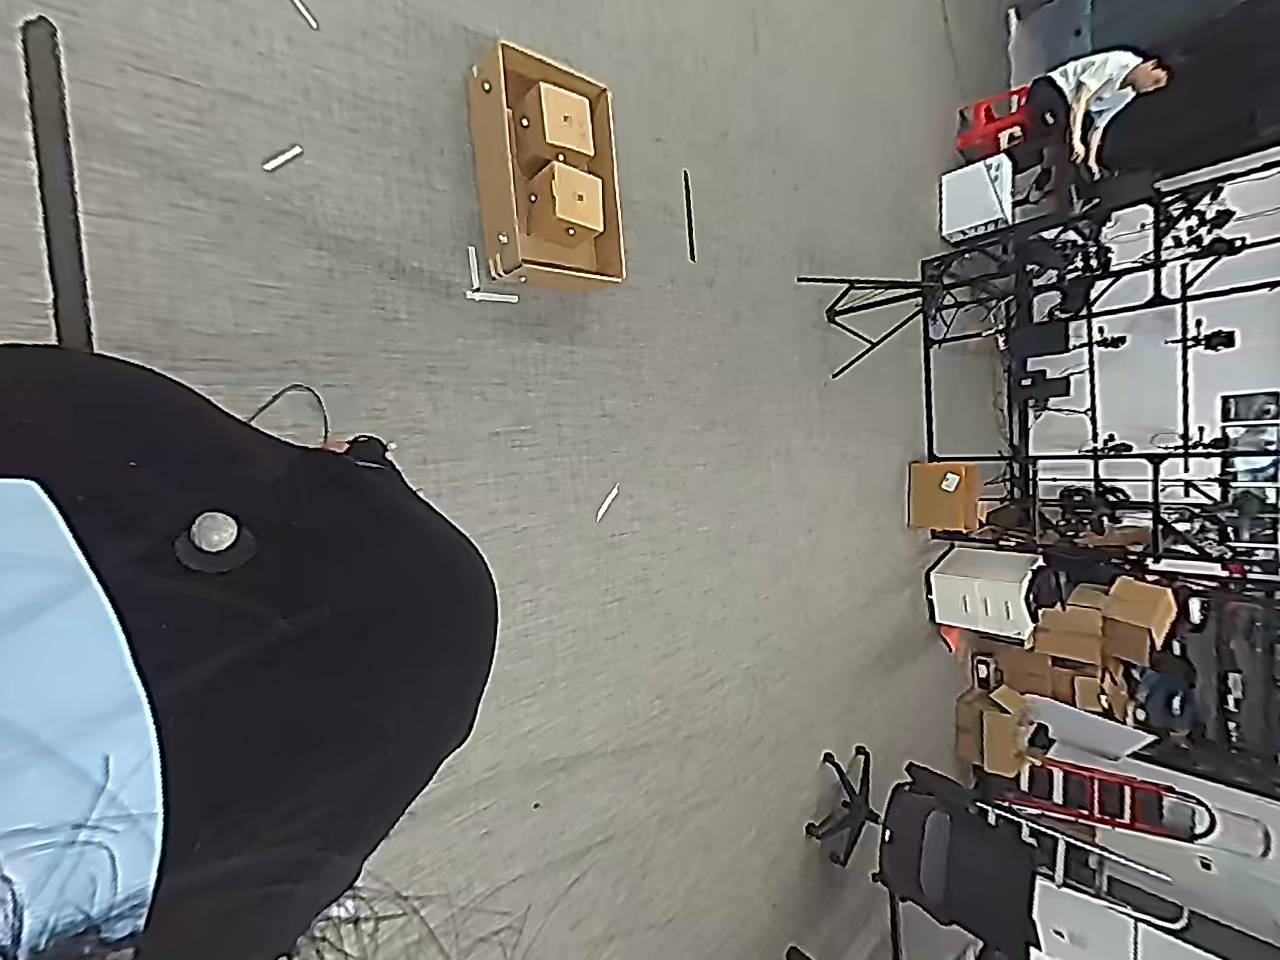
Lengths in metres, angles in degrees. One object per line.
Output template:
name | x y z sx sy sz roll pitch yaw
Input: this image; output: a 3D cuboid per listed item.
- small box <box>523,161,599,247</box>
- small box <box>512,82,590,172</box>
small box | -0.247 -0.848 1.685 0.179 0.176 0.168 -2 91 -42
small box | -0.277 -1.061 1.651 0.179 0.176 0.168 -11 100 -41
